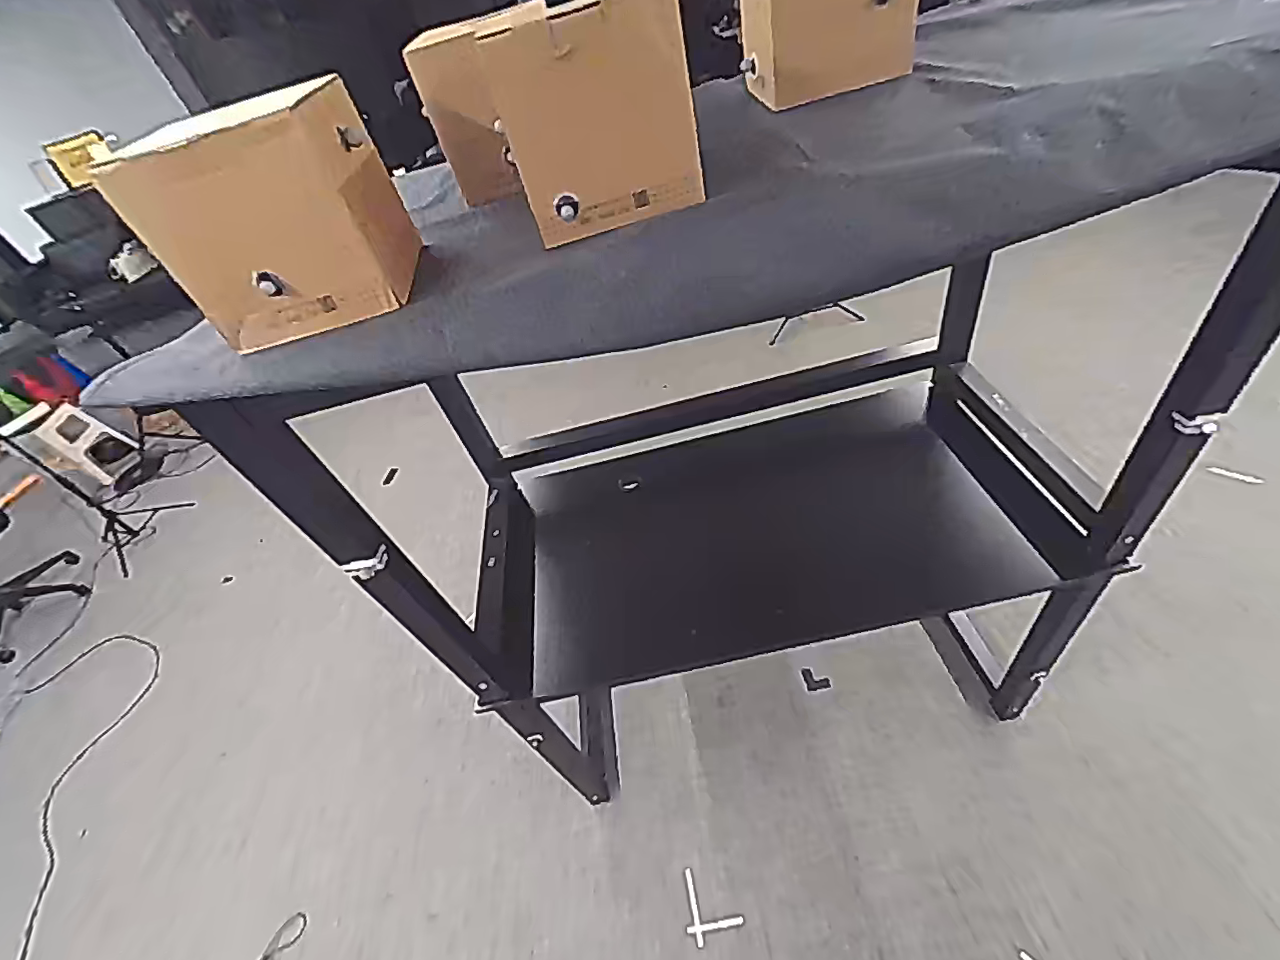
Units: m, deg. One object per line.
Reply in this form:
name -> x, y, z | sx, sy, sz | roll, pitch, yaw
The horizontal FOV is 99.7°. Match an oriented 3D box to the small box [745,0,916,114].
small box -> 0.234, -0.596, 0.688 | 0.179, 0.176, 0.168 | -12, 43, 5

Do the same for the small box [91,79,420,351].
small box -> -0.331, -0.251, 0.516 | 0.168, 0.176, 0.179 | -16, 45, 1
